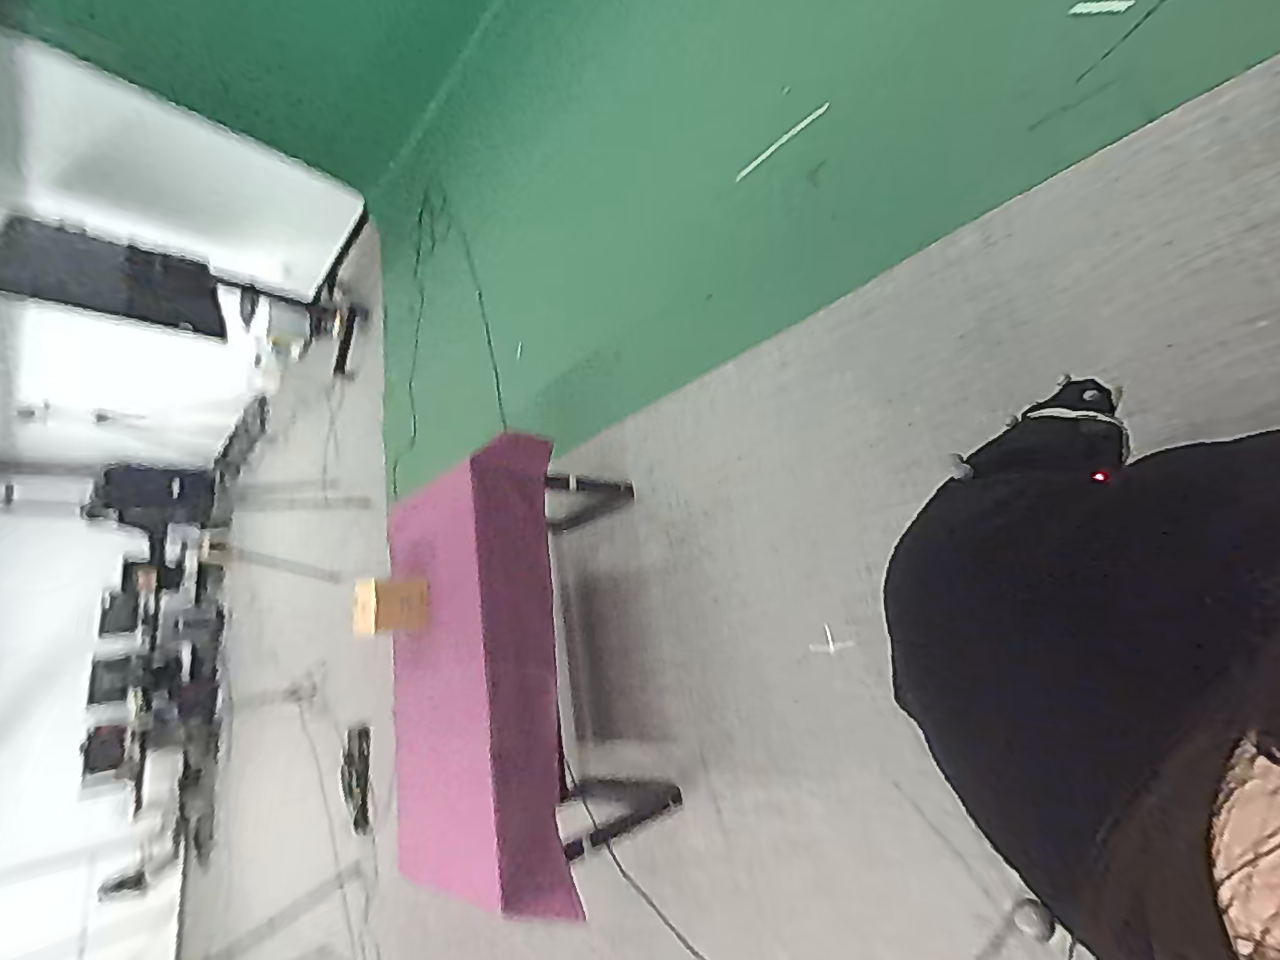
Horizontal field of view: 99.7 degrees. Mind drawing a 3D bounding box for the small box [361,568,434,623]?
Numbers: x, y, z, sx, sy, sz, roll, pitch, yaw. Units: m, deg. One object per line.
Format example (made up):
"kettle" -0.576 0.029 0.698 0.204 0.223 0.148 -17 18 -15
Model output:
"small box" -0.792 0.378 1.773 0.179 0.176 0.168 -13 74 42
